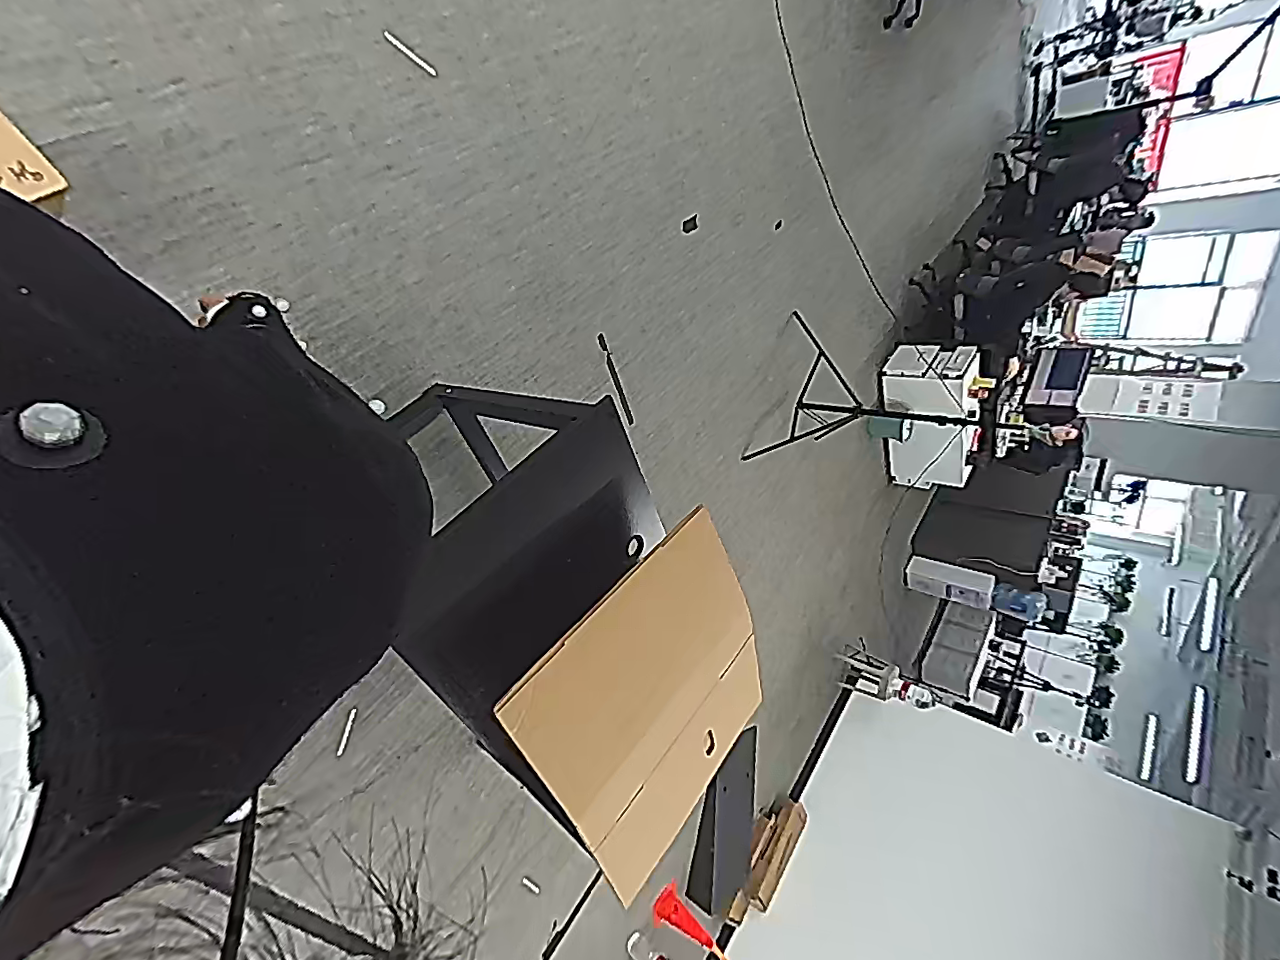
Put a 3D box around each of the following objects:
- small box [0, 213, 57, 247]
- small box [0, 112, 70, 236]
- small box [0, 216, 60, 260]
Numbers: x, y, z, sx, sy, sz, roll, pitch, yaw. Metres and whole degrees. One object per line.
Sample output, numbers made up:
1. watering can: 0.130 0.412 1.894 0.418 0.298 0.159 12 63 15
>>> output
1. small box: -0.977 -0.419 0.758 0.179 0.176 0.168 -53 135 -27
2. small box: -0.858 -0.392 0.649 0.168 0.176 0.179 -50 133 -28
3. small box: -1.100 -0.442 0.862 0.179 0.176 0.168 -49 132 -27
